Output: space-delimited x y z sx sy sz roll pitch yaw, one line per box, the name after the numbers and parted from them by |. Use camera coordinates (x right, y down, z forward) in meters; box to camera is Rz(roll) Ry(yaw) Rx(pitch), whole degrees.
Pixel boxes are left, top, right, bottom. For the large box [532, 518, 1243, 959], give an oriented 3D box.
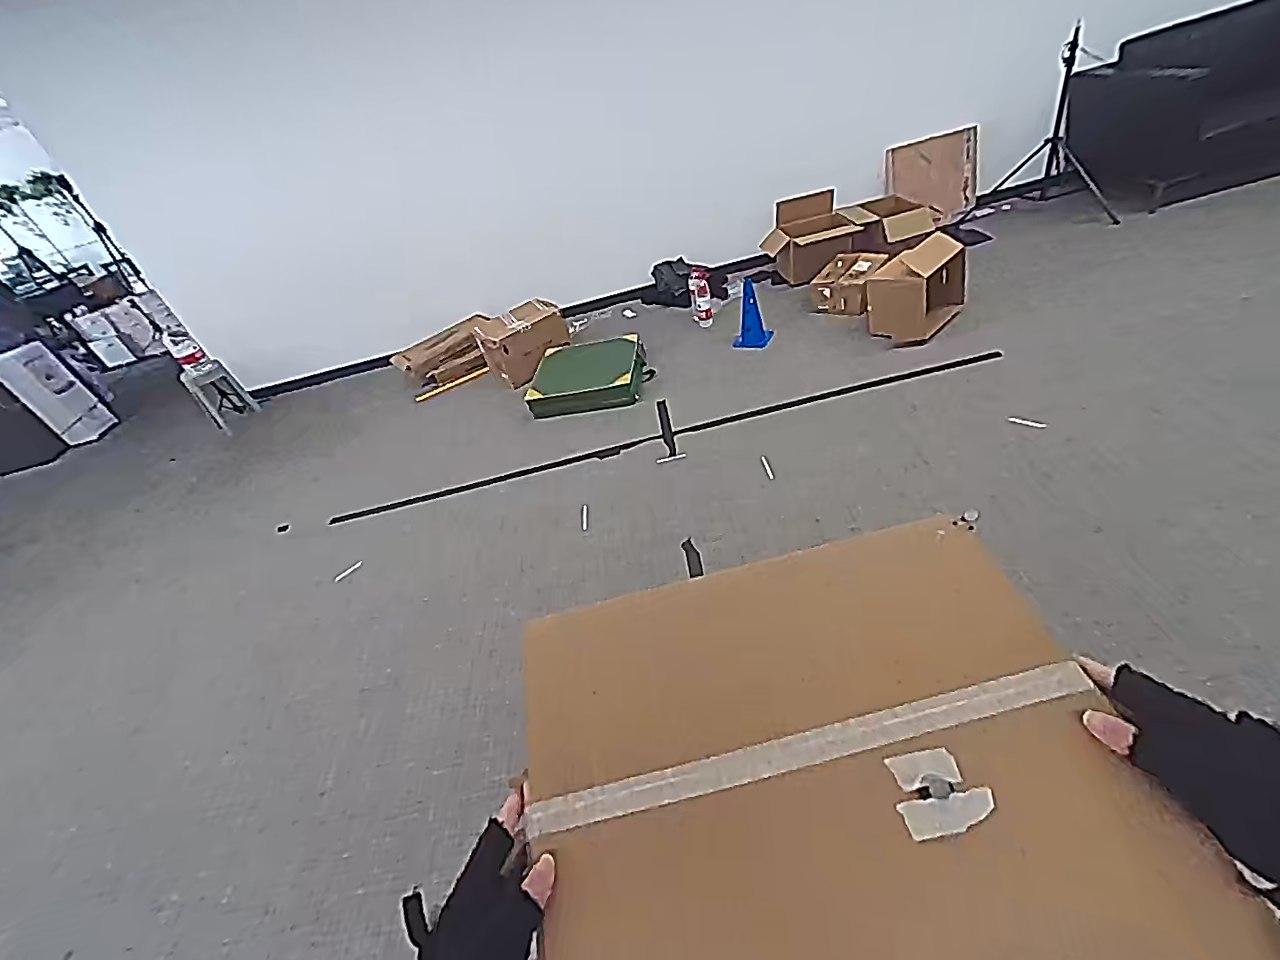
0.143 0.291 0.508 0.408 0.320 0.320 -14 48 -2 | large box
